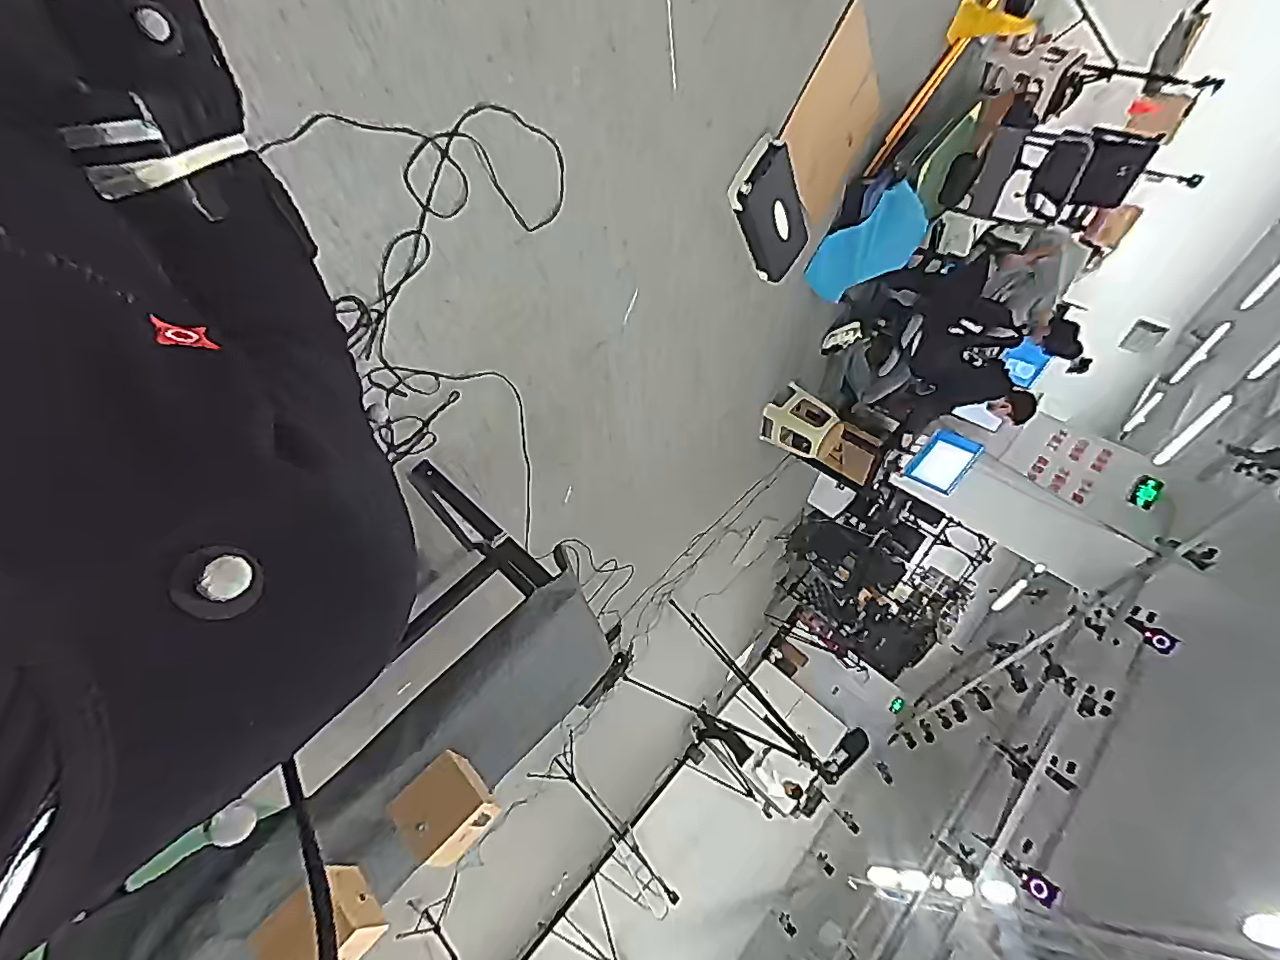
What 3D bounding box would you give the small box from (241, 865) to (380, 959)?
[{"bbox_3d":[-0.724,0.992,1.194,0.179,0.176,0.168,-41,151,-23],"label":"small box"}]
